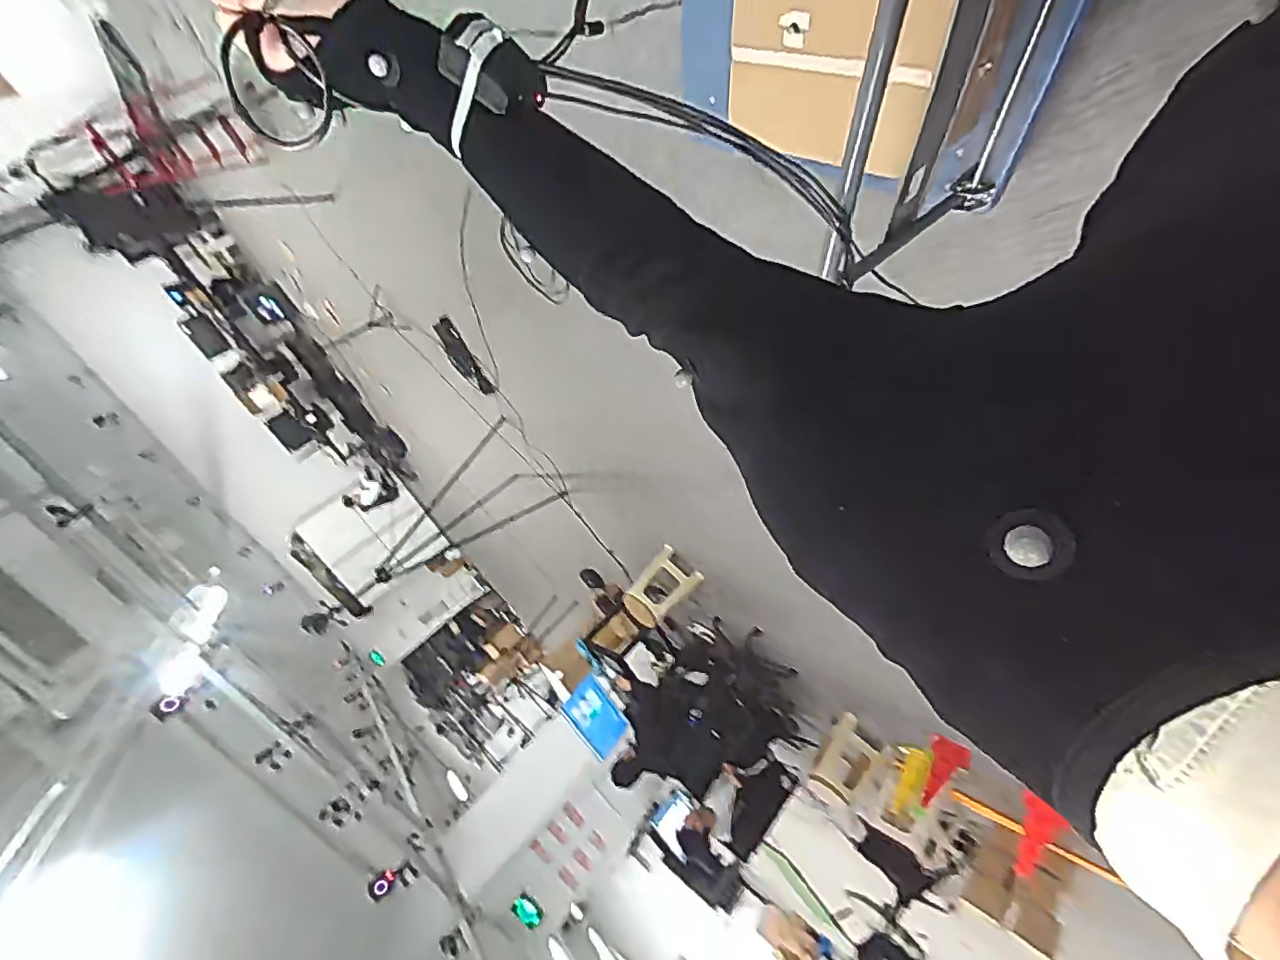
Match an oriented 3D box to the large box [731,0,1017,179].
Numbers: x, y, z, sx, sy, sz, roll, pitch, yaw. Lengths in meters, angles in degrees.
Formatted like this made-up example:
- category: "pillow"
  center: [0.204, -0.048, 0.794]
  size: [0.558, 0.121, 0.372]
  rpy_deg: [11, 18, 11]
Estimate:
- category: "large box"
  center: [0.434, -0.827, 1.030]
  size: [0.408, 0.320, 0.320]
  rpy_deg: [34, 149, 28]
